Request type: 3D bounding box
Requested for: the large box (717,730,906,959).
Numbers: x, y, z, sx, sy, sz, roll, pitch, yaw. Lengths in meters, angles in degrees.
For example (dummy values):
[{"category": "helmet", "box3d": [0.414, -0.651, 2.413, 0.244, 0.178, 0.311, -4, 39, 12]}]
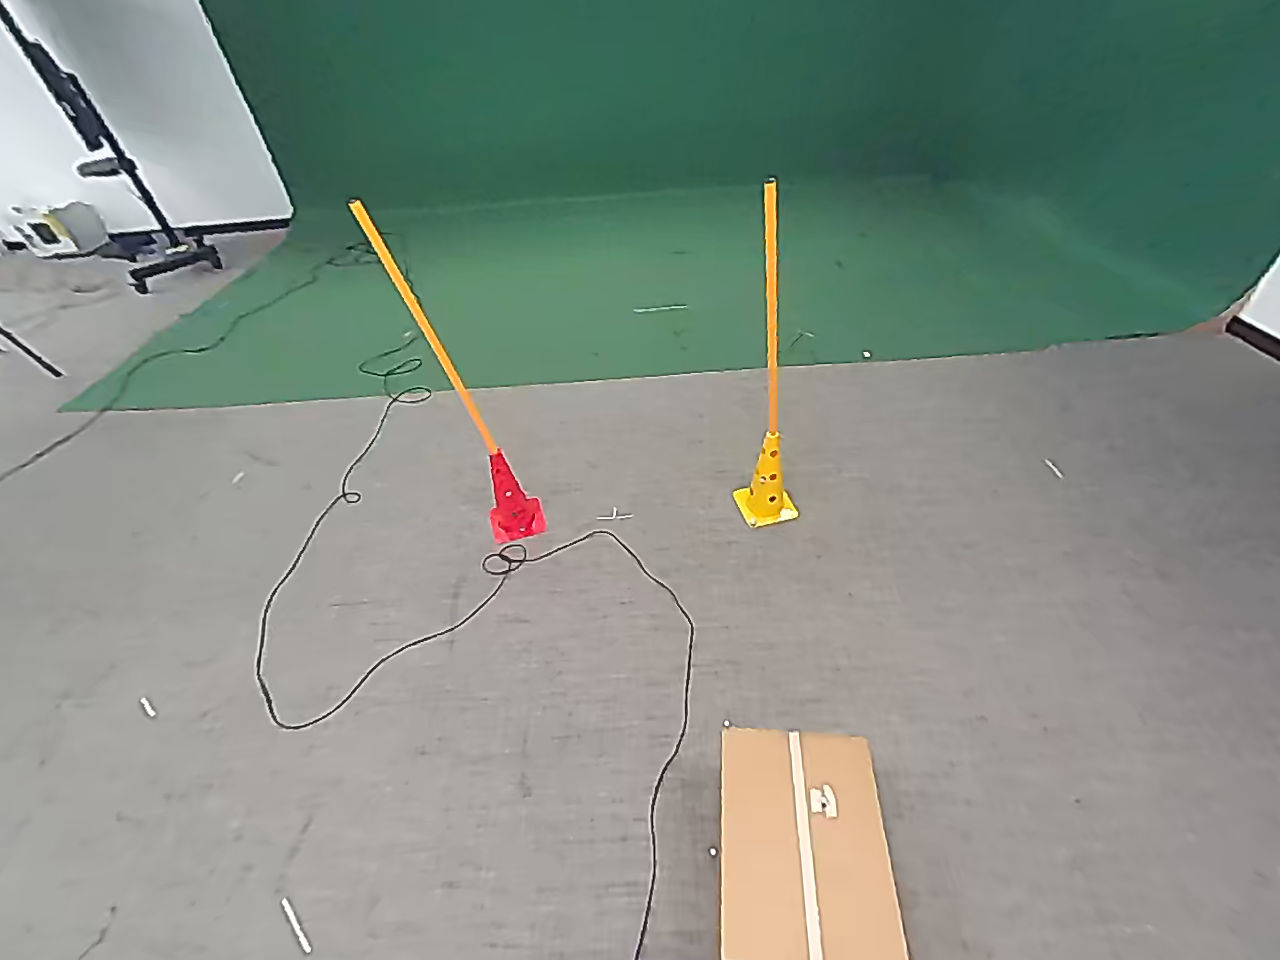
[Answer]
[{"category": "large box", "box3d": [0.320, 0.805, 1.139, 0.320, 0.320, 0.408, 2, 42, 7]}]
